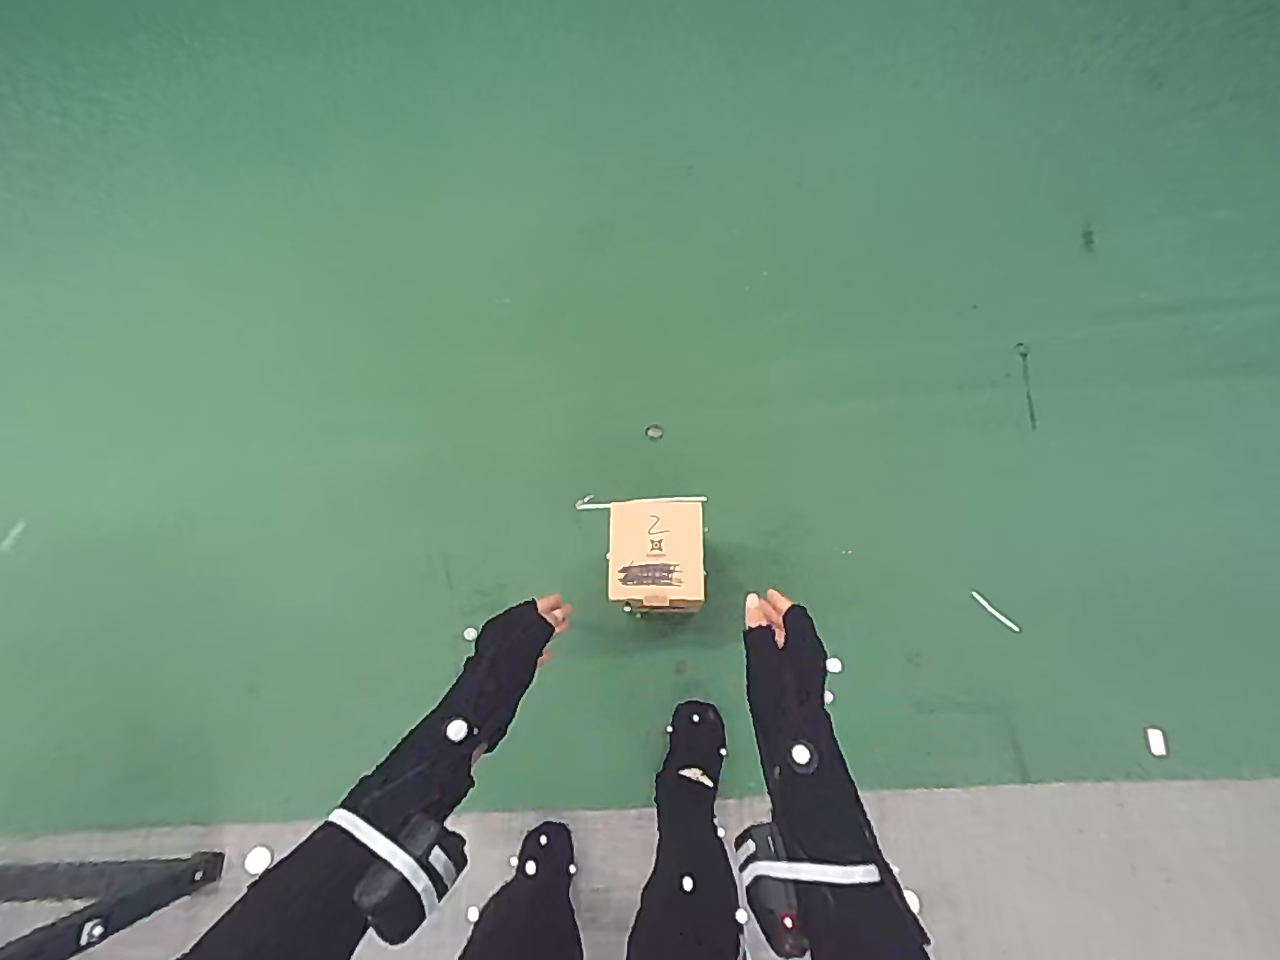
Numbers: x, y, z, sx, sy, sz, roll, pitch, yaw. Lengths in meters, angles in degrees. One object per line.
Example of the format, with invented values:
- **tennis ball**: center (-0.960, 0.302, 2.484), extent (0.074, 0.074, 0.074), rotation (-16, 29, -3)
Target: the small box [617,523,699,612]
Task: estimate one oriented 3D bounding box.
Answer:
- **small box**: center (0.042, 0.195, 1.172), extent (0.168, 0.176, 0.179), rotation (-3, 75, 3)
